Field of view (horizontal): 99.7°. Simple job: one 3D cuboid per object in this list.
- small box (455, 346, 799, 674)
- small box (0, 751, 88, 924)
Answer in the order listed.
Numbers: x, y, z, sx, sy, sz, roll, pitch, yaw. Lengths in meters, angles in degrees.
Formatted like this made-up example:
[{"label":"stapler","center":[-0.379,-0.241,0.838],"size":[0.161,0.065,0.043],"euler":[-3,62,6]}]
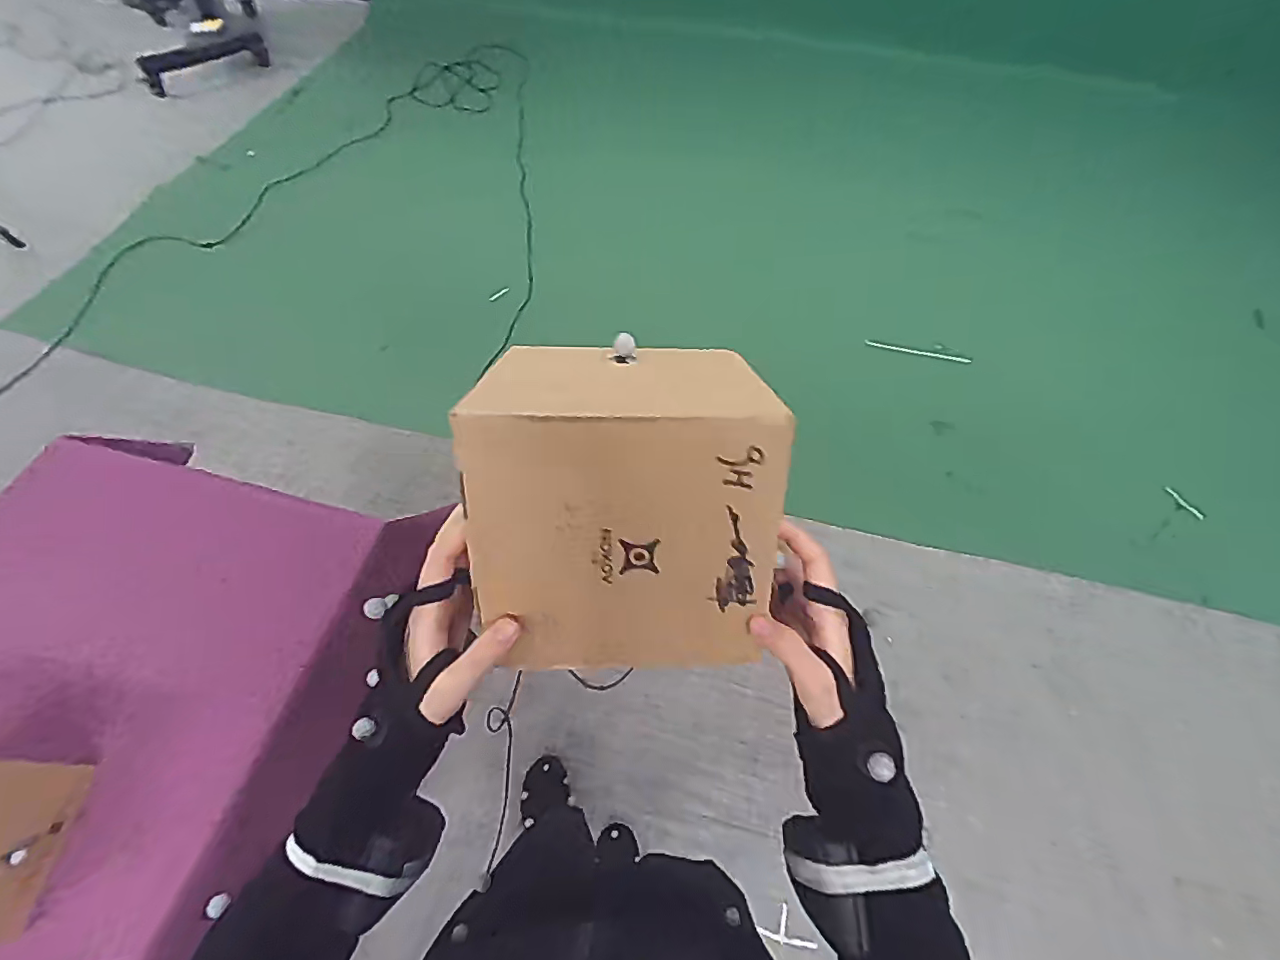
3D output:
[{"label":"small box","center":[-0.010,0.008,0.375],"size":[0.179,0.168,0.176],"euler":[3,26,-1]},{"label":"small box","center":[-0.745,0.361,0.541],"size":[0.179,0.176,0.168],"euler":[3,60,2]}]
